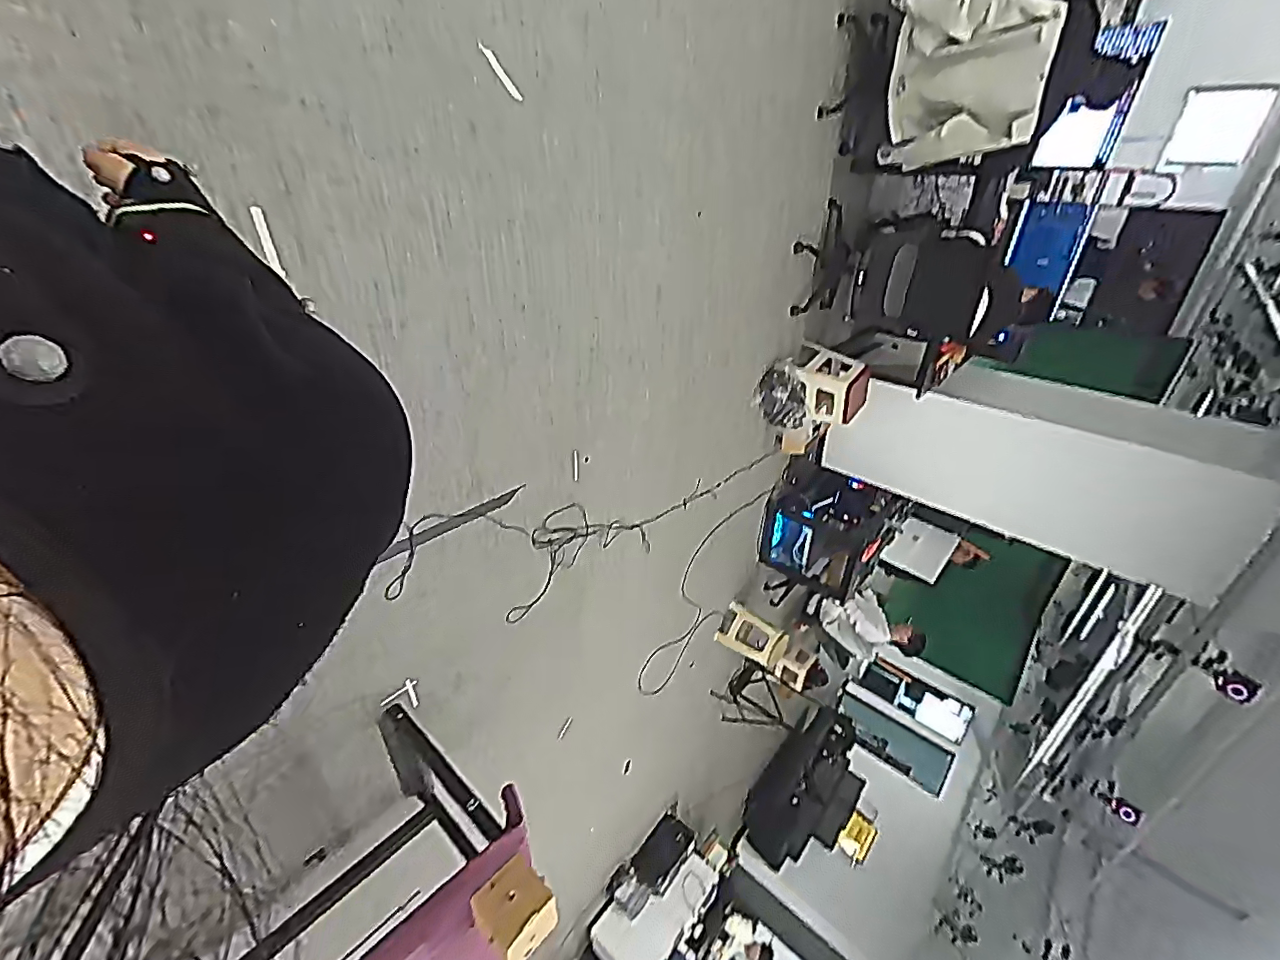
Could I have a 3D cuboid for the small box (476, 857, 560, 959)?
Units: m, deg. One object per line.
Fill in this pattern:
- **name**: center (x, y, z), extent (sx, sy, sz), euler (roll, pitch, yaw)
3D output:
- **small box**: center (-0.345, 1.216, 1.525), extent (0.168, 0.176, 0.179), euler (-28, 131, -41)
